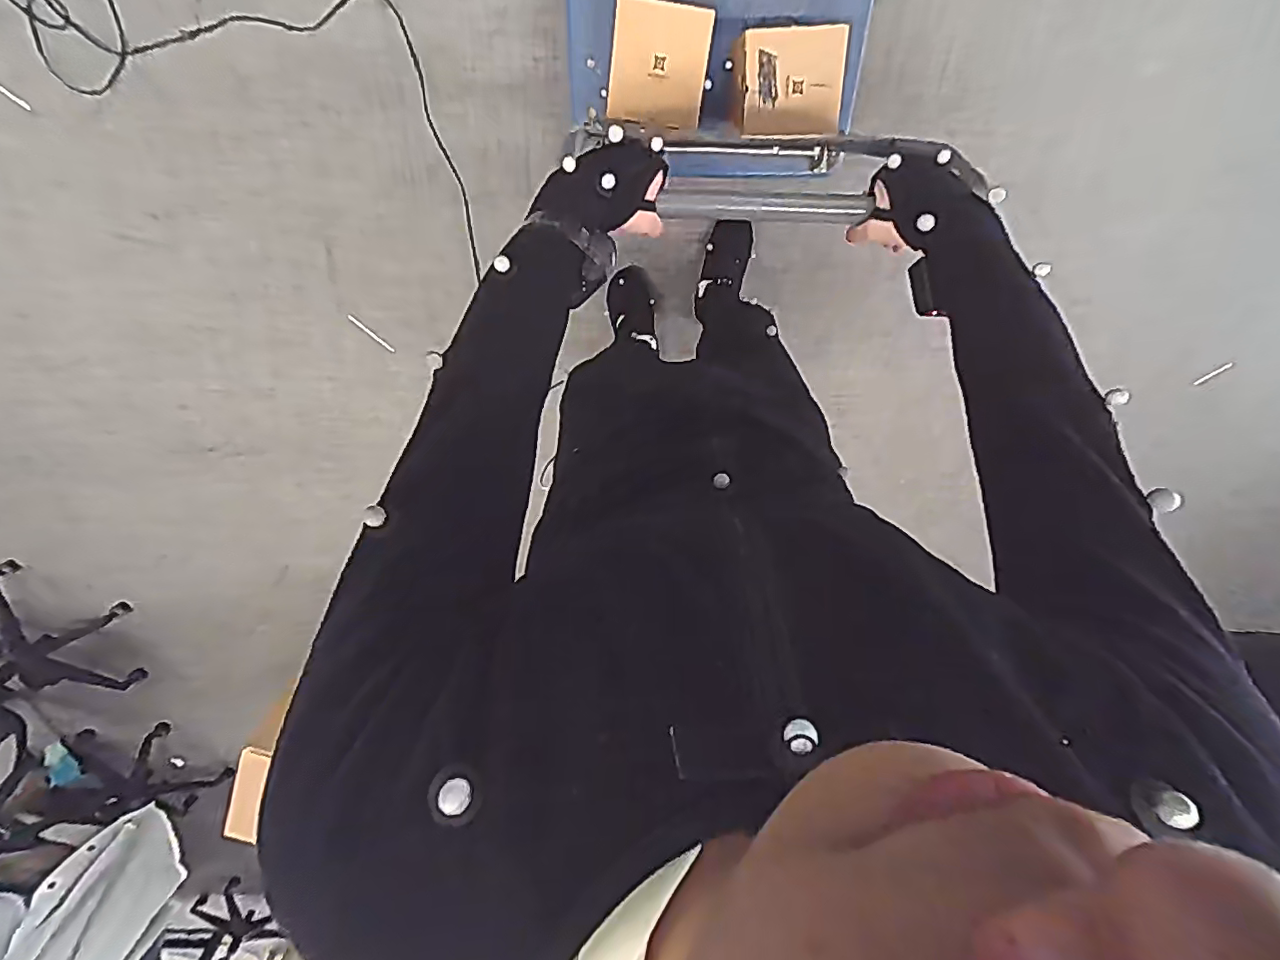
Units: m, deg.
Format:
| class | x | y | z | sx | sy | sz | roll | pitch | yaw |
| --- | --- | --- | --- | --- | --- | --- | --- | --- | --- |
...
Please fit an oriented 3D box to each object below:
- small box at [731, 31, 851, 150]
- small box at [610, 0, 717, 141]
| class | x | y | z | sx | sy | sz | roll | pitch | yaw |
| --- | --- | --- | --- | --- | --- | --- | --- | --- | --- |
| small box | 0.271 | -0.721 | 1.016 | 0.179 | 0.176 | 0.168 | -2 | 121 | 1 |
| small box | 0.035 | -0.746 | 1.003 | 0.168 | 0.176 | 0.179 | 6 | 121 | -5 |
